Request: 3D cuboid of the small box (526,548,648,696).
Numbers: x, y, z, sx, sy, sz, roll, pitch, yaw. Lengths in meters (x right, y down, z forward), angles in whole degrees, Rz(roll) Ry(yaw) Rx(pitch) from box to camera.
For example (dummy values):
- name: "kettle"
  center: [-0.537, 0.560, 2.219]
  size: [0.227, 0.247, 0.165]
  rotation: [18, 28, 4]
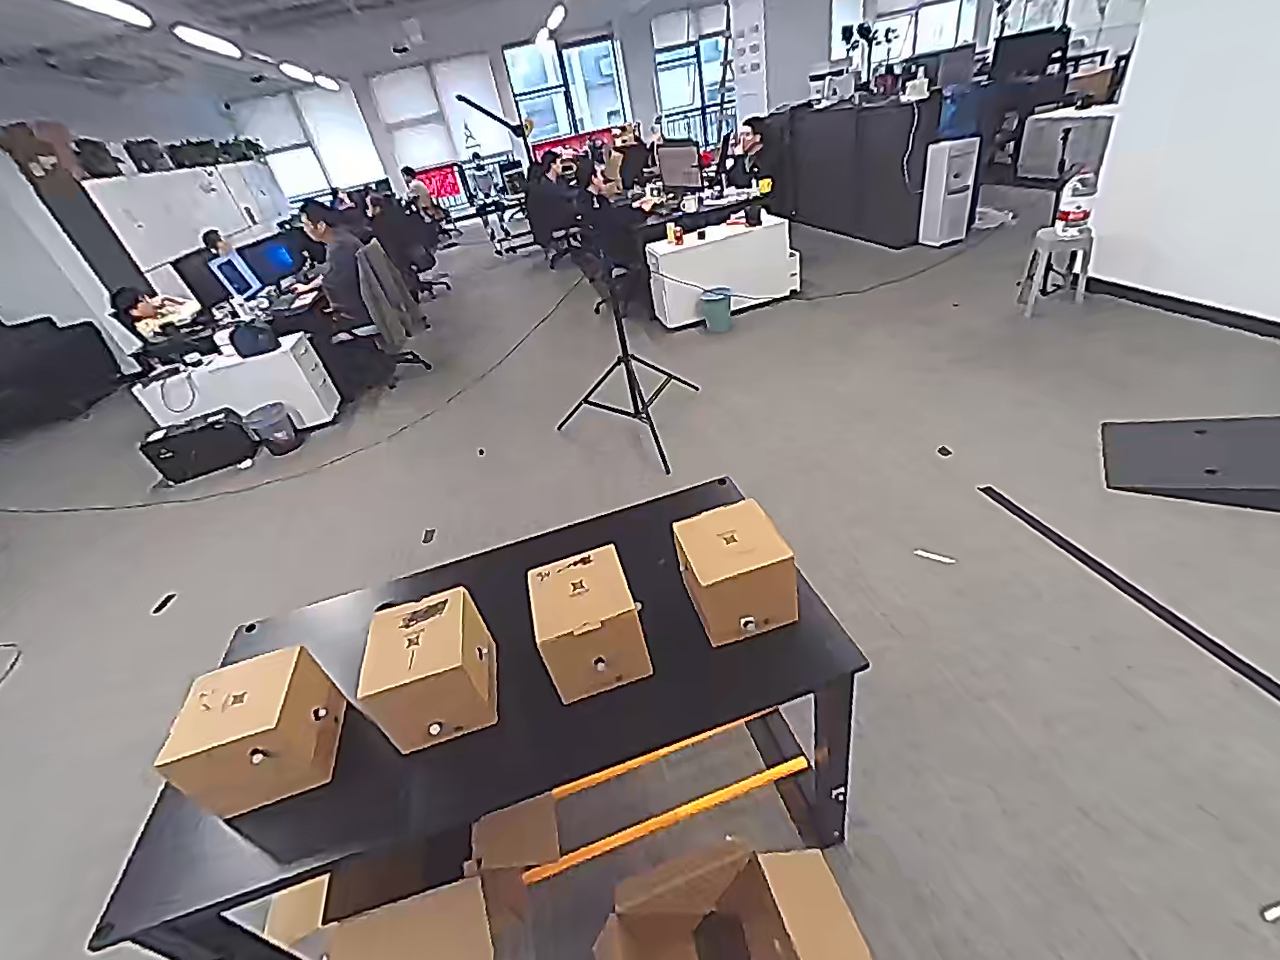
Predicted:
- name: "small box"
  center: [-0.094, 0.257, 0.963]
  size: [0.168, 0.176, 0.179]
  rotation: [-17, 35, -6]

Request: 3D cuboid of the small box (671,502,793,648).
- name: "small box"
  center: [0.168, 0.173, 0.998]
  size: [0.168, 0.176, 0.179]
  rotation: [-18, 35, -5]

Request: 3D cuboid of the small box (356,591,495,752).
- name: "small box"
  center: [-0.359, 0.331, 0.940]
  size: [0.168, 0.176, 0.179]
  rotation: [-17, 35, -6]

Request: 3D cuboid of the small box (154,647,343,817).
- name: "small box"
  center: [-0.628, 0.417, 0.899]
  size: [0.179, 0.176, 0.168]
  rotation: [-17, 34, -7]
